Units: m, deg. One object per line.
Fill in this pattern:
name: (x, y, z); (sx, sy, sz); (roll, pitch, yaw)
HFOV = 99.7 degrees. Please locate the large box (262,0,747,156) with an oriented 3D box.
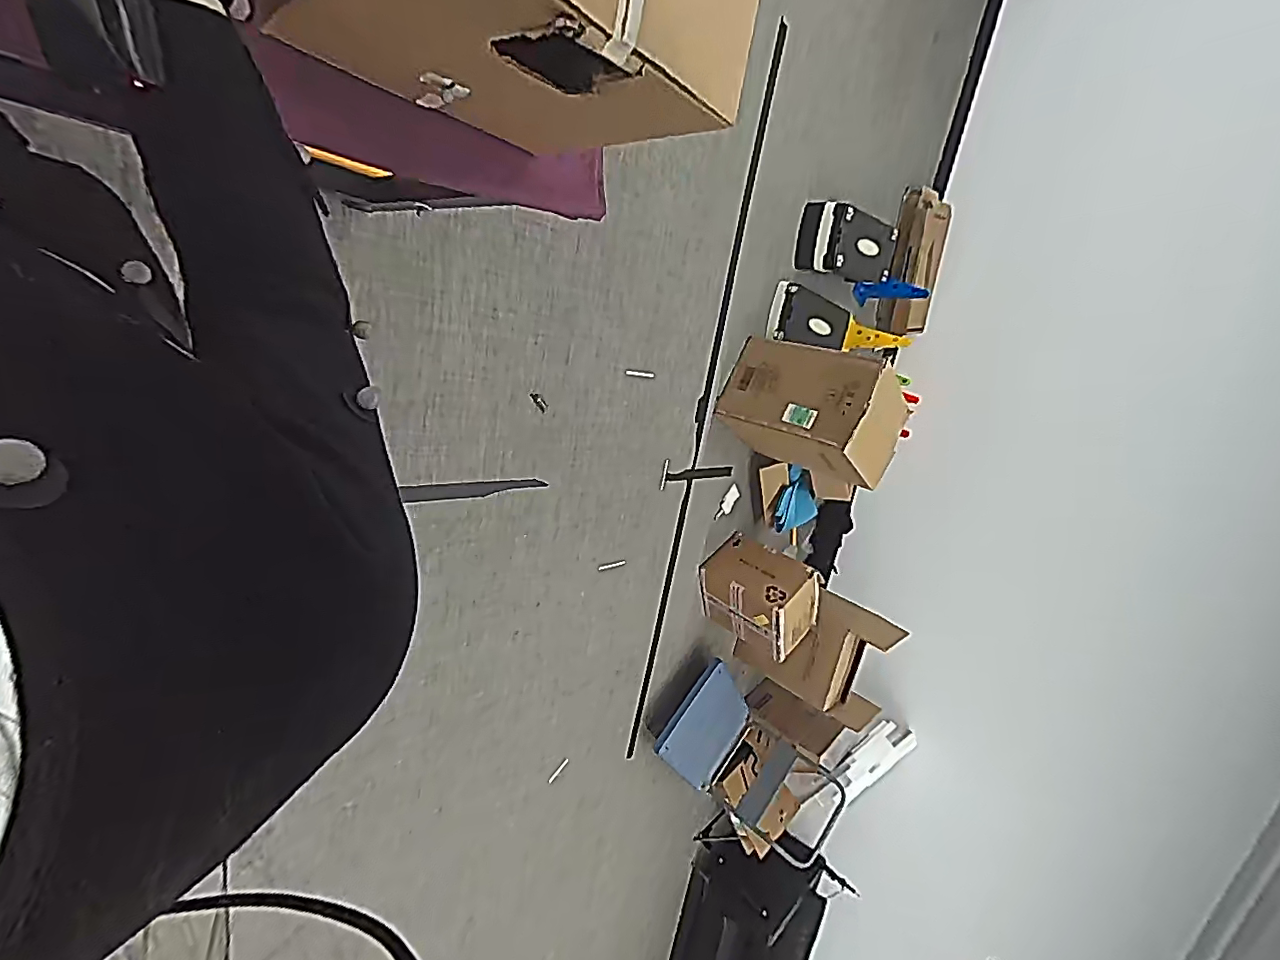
large box: (-0.100, -0.549, 0.446); (0.320, 0.320, 0.408); (-6, 111, -48)
